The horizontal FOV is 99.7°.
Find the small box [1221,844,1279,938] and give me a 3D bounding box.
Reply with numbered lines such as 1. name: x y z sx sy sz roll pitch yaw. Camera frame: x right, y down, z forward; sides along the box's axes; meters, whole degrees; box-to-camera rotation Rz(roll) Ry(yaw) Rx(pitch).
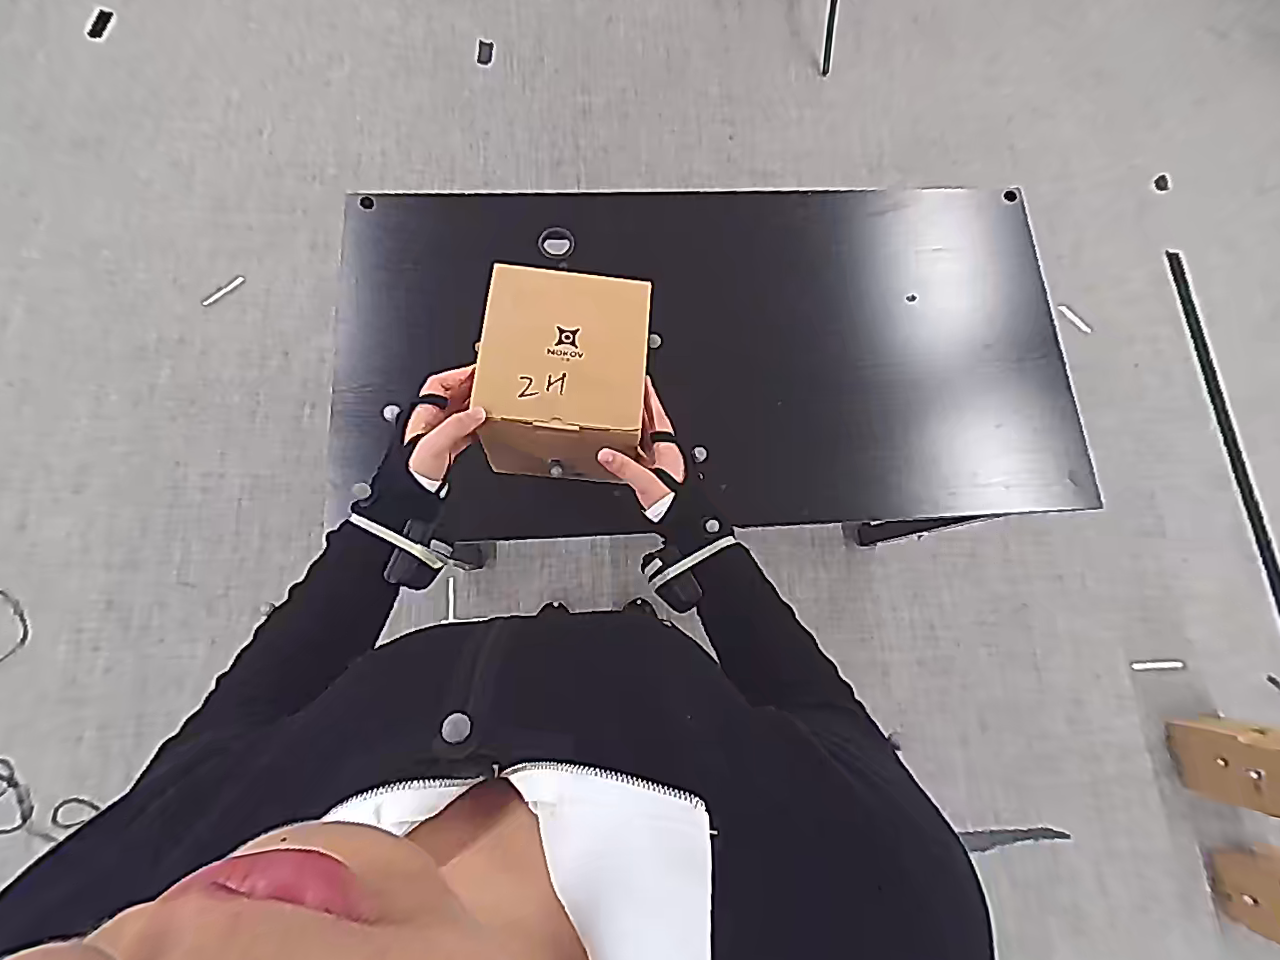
1. small box: 1.615 1.033 1.344 0.179 0.176 0.168 -2 77 -3

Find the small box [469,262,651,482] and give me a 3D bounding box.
1. small box: -0.083 -0.112 0.614 0.168 0.176 0.179 5 71 -3

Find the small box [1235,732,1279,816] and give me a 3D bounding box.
1. small box: 1.568 0.690 1.250 0.179 0.176 0.168 -6 76 -3

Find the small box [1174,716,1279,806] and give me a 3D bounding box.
1. small box: 1.563 0.723 1.409 0.168 0.176 0.179 -4 78 -3
